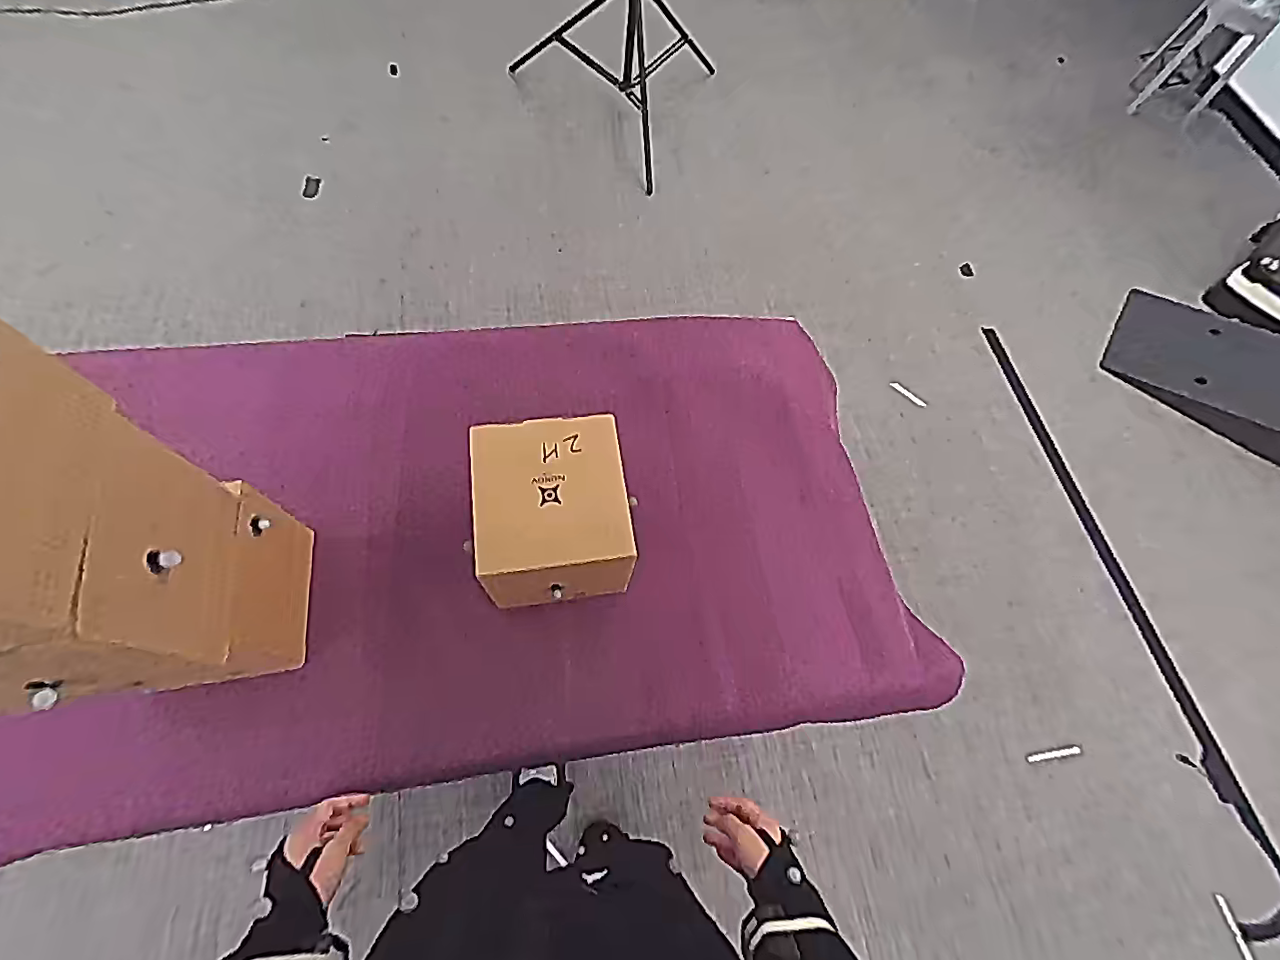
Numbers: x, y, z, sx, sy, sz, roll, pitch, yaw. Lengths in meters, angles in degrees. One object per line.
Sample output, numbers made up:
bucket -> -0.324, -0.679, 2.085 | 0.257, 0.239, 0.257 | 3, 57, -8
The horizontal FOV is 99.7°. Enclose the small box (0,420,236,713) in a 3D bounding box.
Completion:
small box -> -0.458, 0.079, 0.430 | 0.168, 0.176, 0.179 | -11, 68, -11

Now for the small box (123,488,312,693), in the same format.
small box -> -0.481, 0.127, 0.586 | 0.168, 0.176, 0.179 | -7, 66, -9

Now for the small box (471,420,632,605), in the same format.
small box -> -0.106, 0.049, 0.660 | 0.168, 0.176, 0.179 | -6, 66, -9
